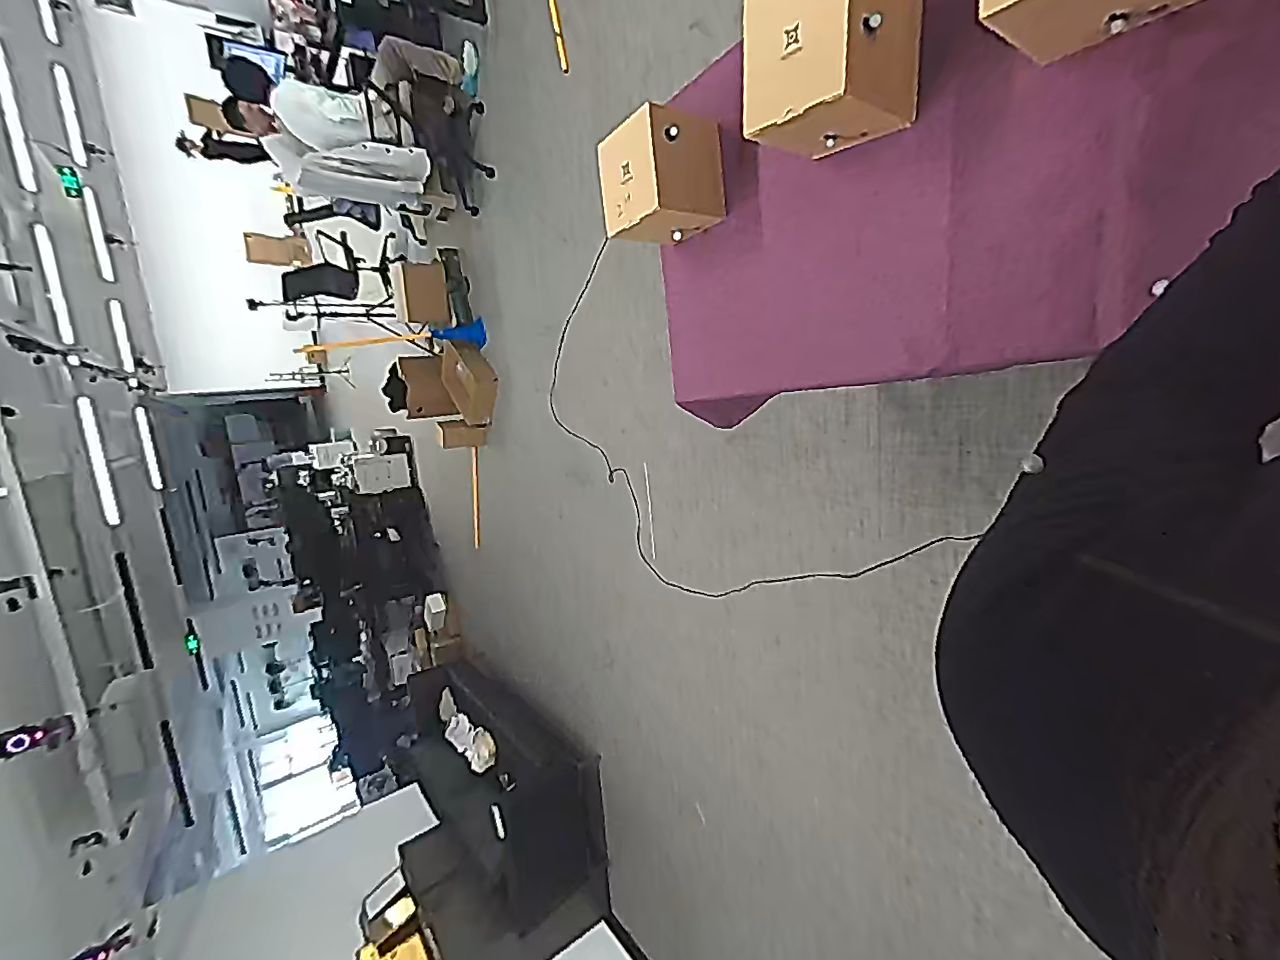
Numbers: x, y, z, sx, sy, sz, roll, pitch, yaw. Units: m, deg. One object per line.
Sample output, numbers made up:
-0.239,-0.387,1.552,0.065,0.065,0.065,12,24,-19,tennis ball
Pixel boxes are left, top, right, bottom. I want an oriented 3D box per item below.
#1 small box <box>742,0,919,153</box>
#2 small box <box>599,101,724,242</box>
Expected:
0.260,-0.579,0.742,0.168,0.176,0.179,16,113,52,small box
0.042,-0.577,1.039,0.168,0.176,0.179,4,103,54,small box
